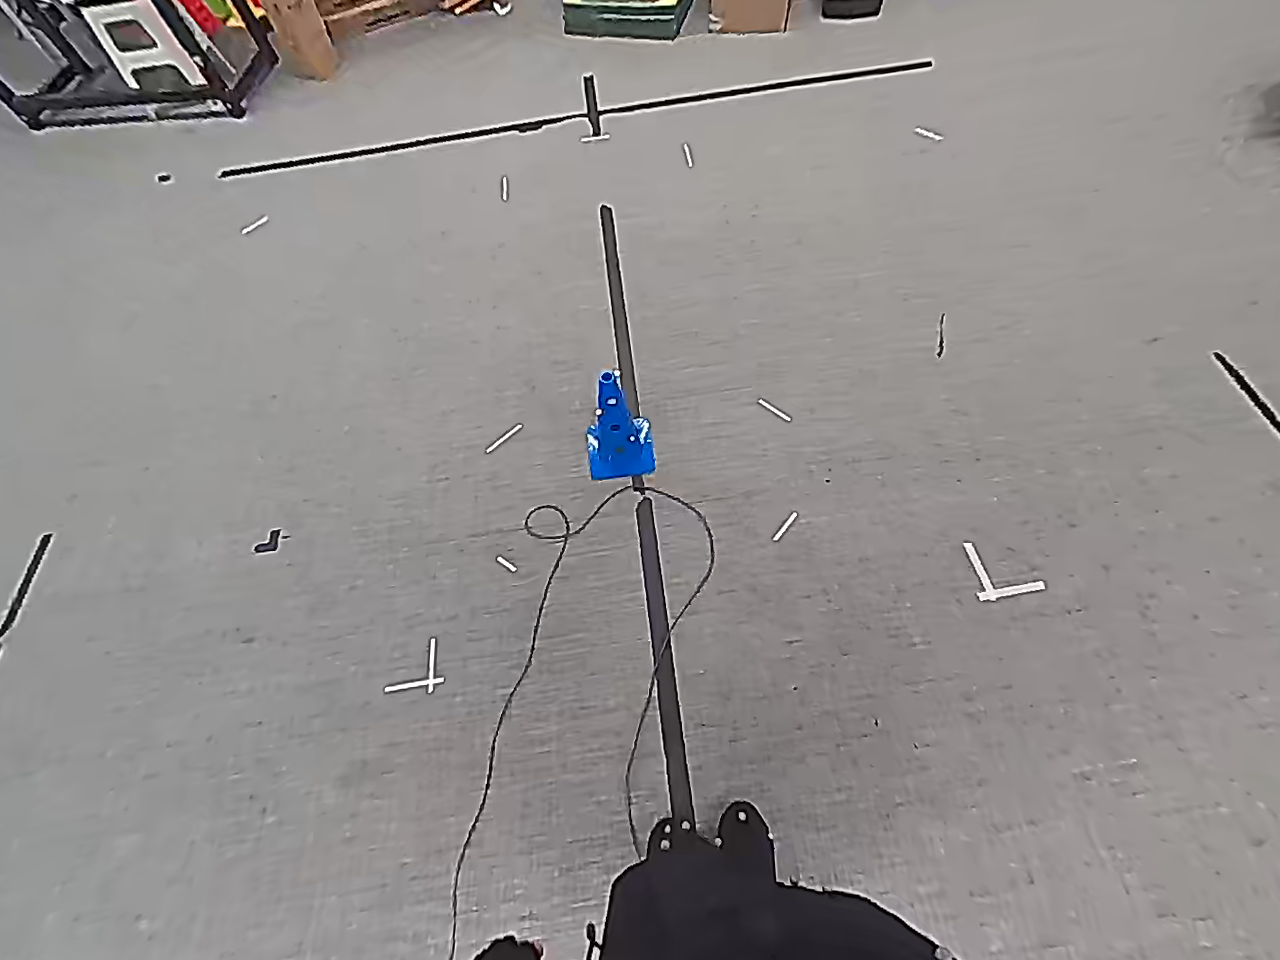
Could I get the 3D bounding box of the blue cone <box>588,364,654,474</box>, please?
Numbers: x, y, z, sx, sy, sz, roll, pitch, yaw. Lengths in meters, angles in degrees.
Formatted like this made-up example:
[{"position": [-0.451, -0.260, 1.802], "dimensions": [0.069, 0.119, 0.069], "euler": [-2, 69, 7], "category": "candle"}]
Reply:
[{"position": [-0.071, -0.182, 1.500], "dimensions": [0.193, 0.380, 0.192], "euler": [-9, 63, 0], "category": "blue cone"}]
